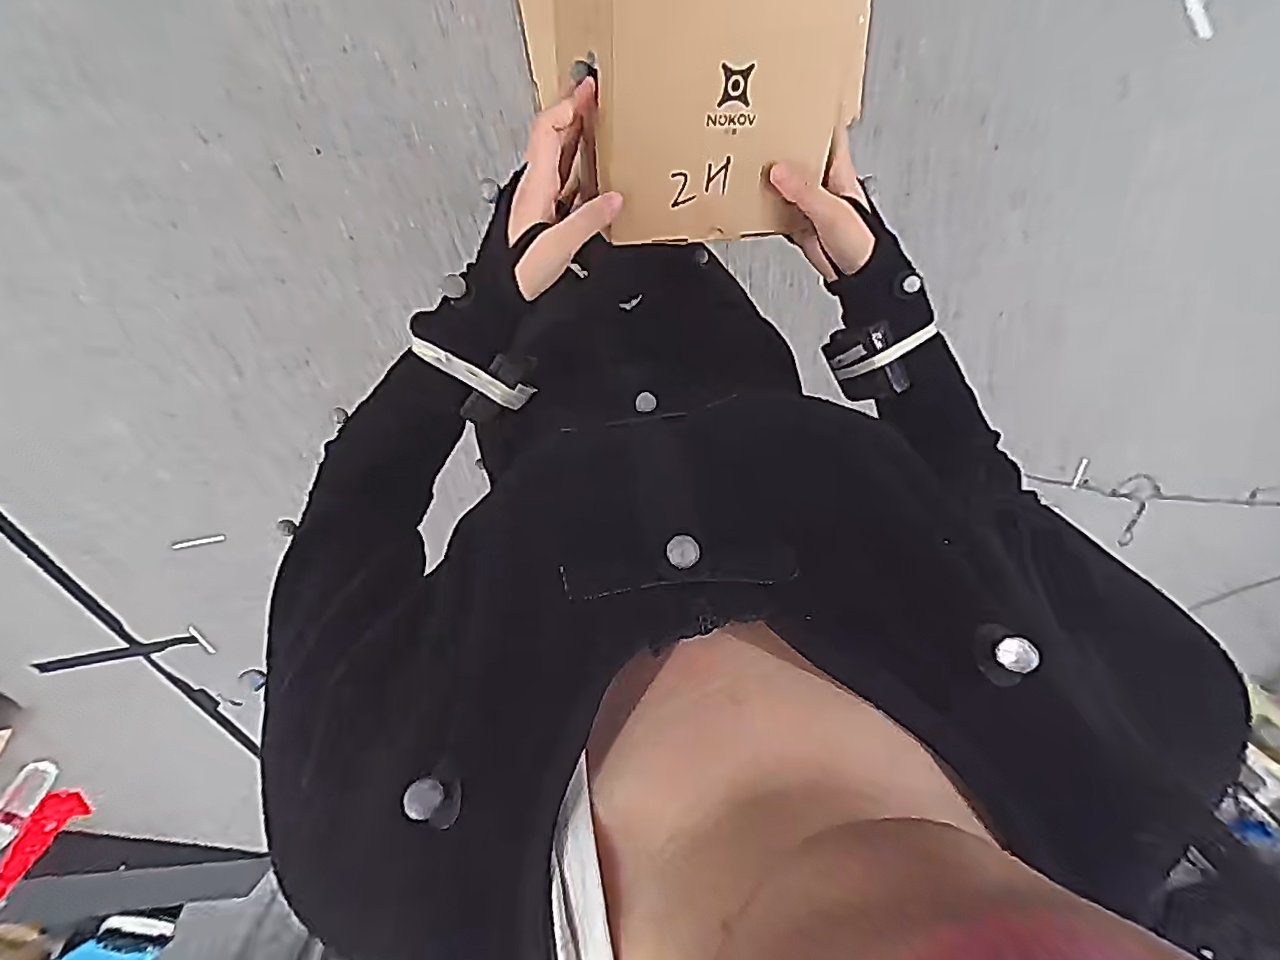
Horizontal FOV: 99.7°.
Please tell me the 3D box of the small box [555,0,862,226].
[{"bbox_3d":[0.035,-0.306,0.401,0.168,0.176,0.179,-10,132,-15],"label":"small box"}]
